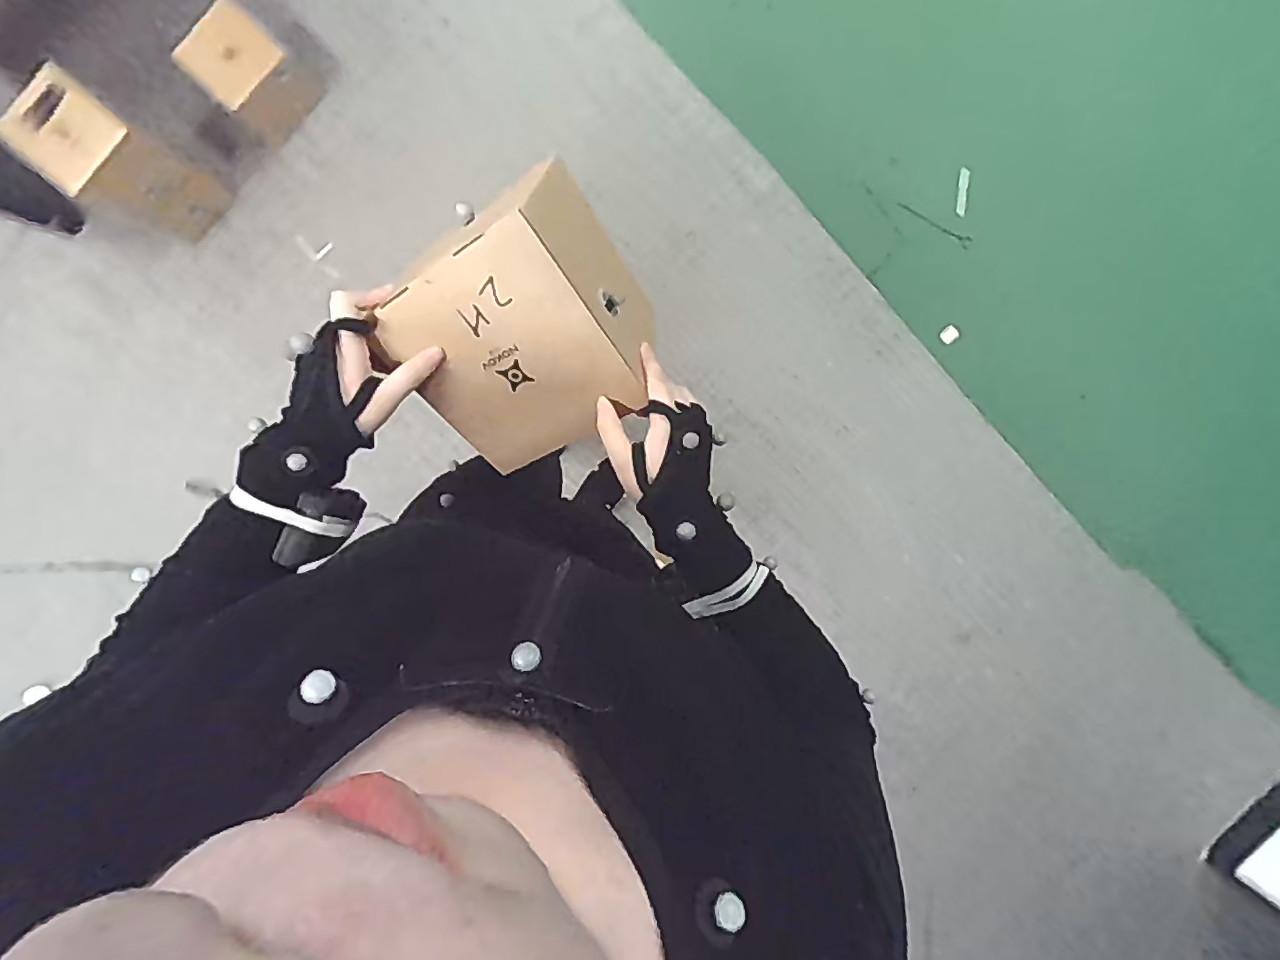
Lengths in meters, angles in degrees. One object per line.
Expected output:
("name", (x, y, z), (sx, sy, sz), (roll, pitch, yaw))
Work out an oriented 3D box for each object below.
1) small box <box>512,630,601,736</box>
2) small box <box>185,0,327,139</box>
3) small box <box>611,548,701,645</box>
("small box", (-0.222, 0.545, 1.478), (0.168, 0.176, 0.179), (42, 94, -6))
("small box", (-0.880, -0.948, 1.260), (0.168, 0.176, 0.179), (43, 93, -7))
("small box", (0.036, 0.303, 1.462), (0.179, 0.176, 0.168), (44, 93, -8))
